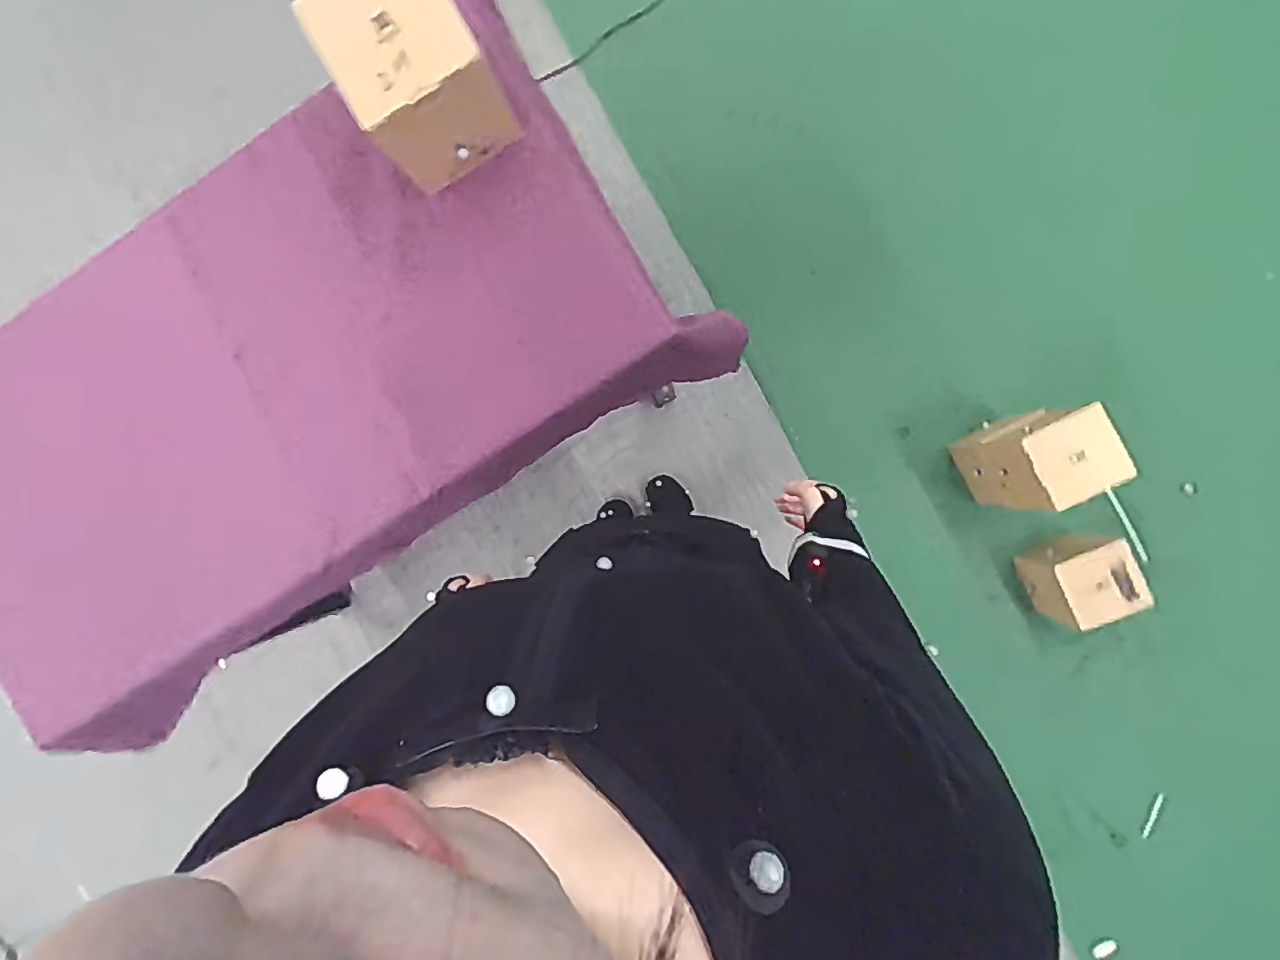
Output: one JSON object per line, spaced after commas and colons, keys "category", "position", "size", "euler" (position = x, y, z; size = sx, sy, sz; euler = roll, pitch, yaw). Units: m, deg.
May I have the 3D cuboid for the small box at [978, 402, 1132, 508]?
{"category": "small box", "position": [0.898, -0.053, 1.187], "size": [0.179, 0.176, 0.168], "euler": [-27, 88, 5]}

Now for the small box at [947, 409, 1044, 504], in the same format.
{"category": "small box", "position": [0.914, -0.057, 1.349], "size": [0.168, 0.176, 0.179], "euler": [-27, 88, 4]}

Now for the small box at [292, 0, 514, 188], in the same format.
{"category": "small box", "position": [-0.293, -0.531, 0.708], "size": [0.168, 0.176, 0.179], "euler": [-29, 92, 6]}
